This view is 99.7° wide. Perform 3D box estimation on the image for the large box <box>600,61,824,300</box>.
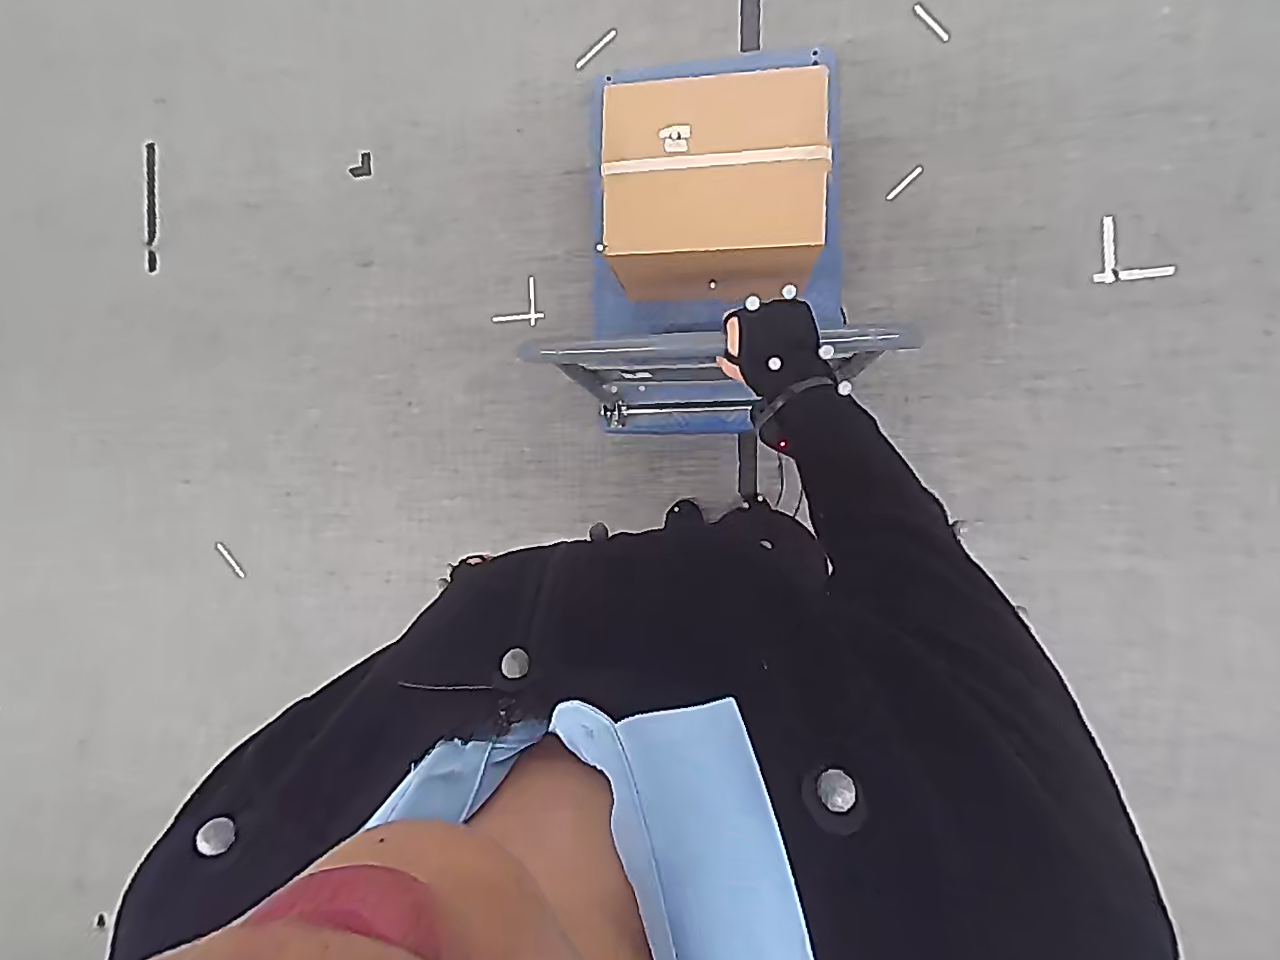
[{"bbox_3d":[0.150,-0.577,1.117,0.408,0.320,0.320,0,91,10],"label":"large box"}]
